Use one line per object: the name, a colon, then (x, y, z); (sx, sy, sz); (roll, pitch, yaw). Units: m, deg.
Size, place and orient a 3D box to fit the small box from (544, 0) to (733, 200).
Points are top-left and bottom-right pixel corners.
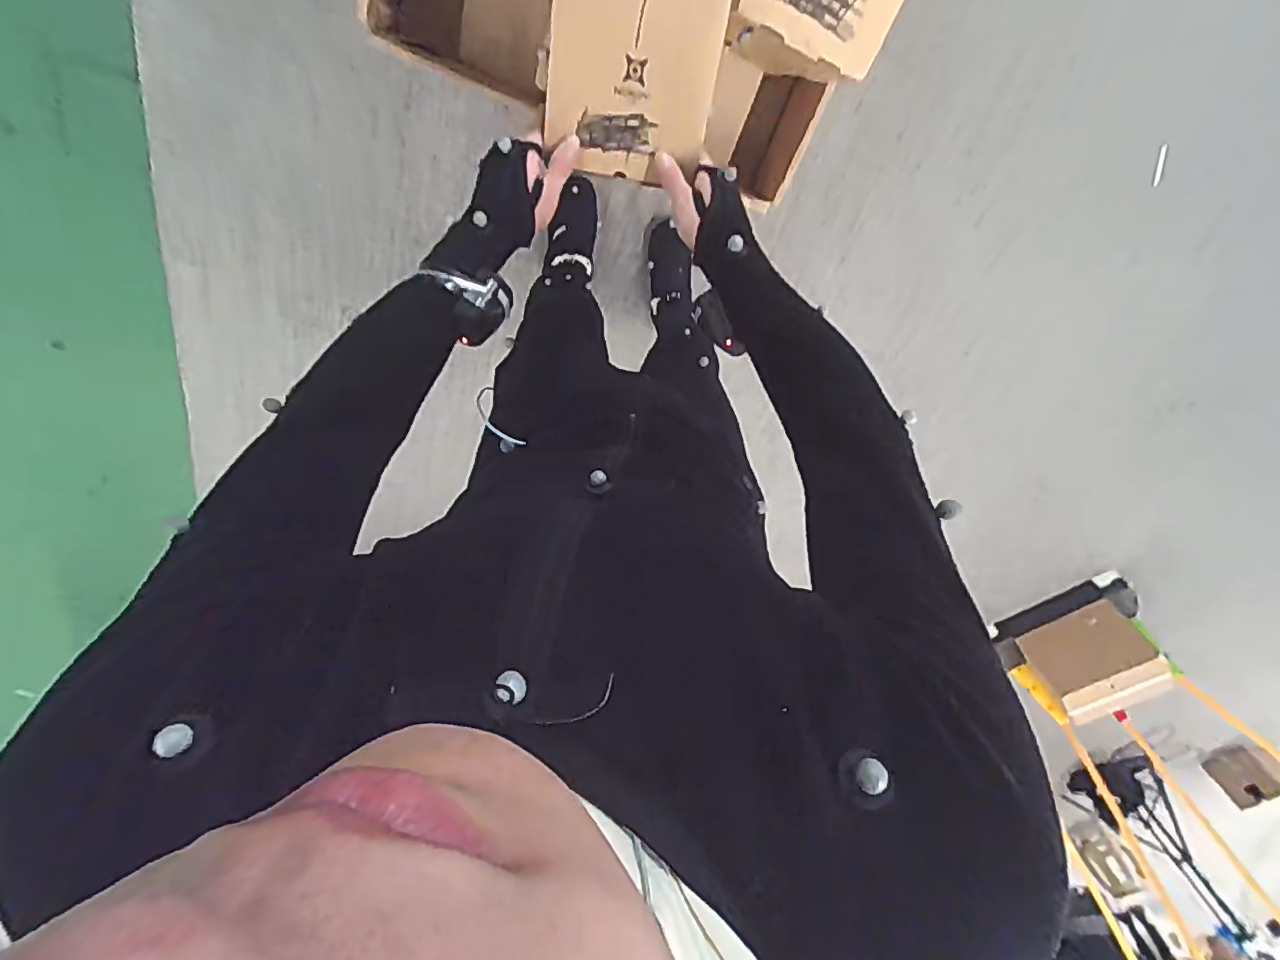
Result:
small box: (-0.013, -0.430, 0.595); (0.168, 0.176, 0.179); (4, 124, -10)
